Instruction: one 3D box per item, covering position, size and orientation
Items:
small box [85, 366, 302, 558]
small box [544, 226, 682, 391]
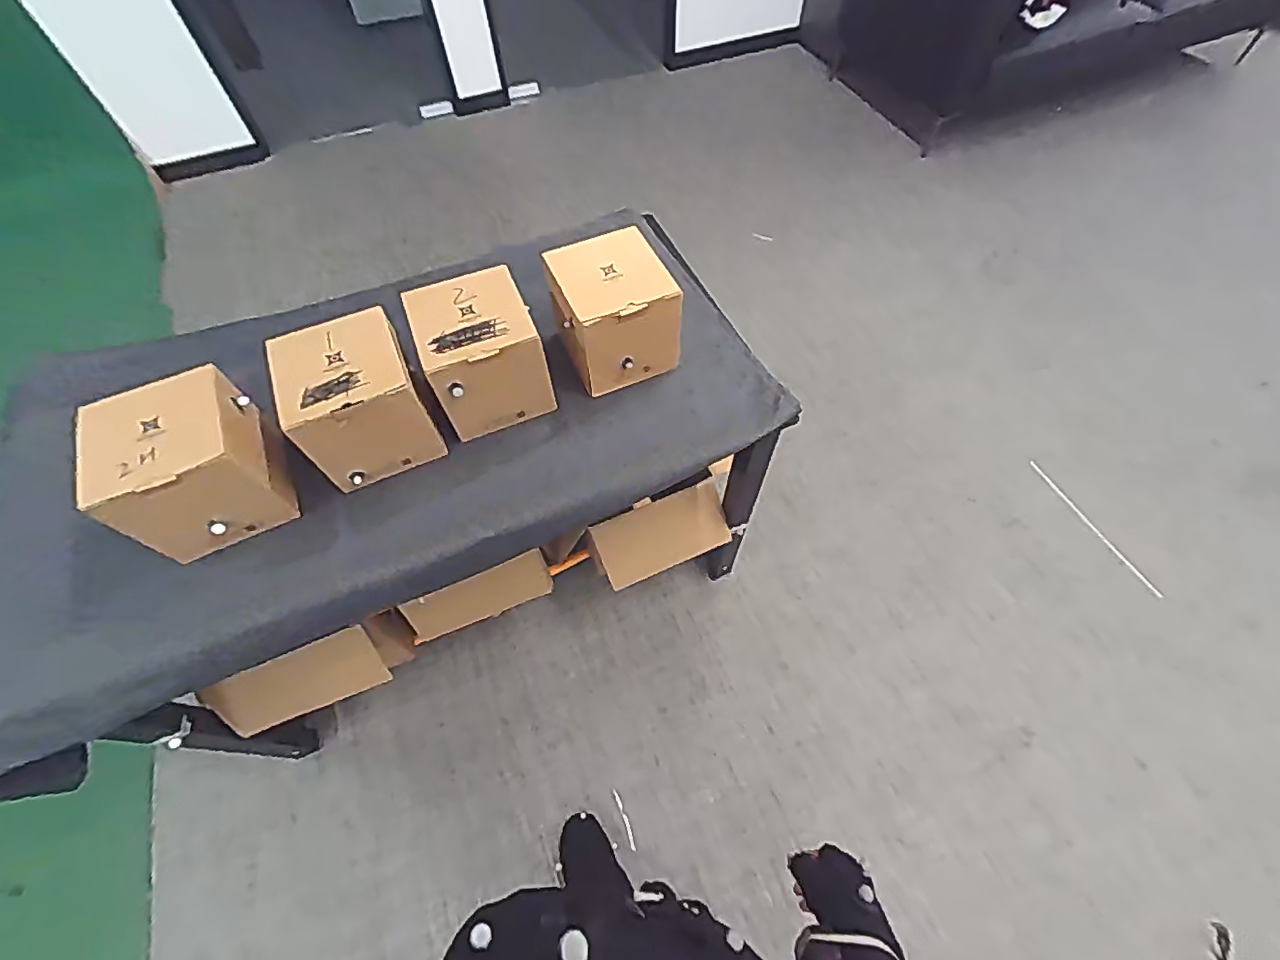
[{"bbox_3d":[-0.614,-0.021,0.759,0.168,0.176,0.179,-25,63,-13],"label":"small box"},{"bbox_3d":[-0.045,-0.281,0.900,0.168,0.176,0.179,-22,62,-11],"label":"small box"}]
